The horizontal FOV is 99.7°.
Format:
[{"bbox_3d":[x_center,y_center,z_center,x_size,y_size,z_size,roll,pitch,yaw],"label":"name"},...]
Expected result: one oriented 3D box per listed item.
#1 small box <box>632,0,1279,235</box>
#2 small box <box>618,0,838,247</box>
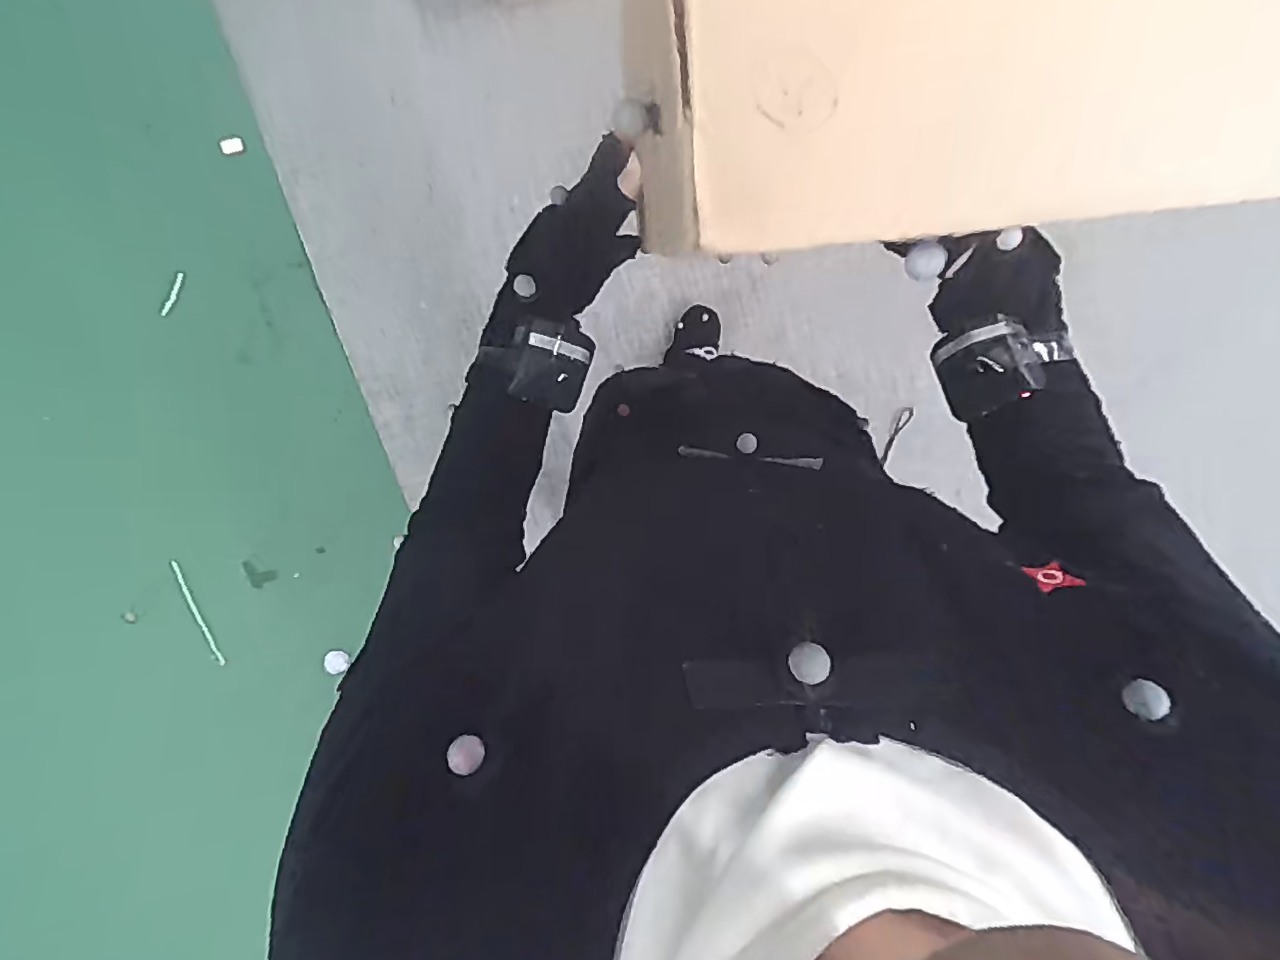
[{"bbox_3d":[0.084,-0.181,0.181,0.179,0.176,0.168,-7,115,2],"label":"small box"},{"bbox_3d":[0.075,-0.313,0.480,0.168,0.176,0.179,-6,114,2],"label":"small box"}]
